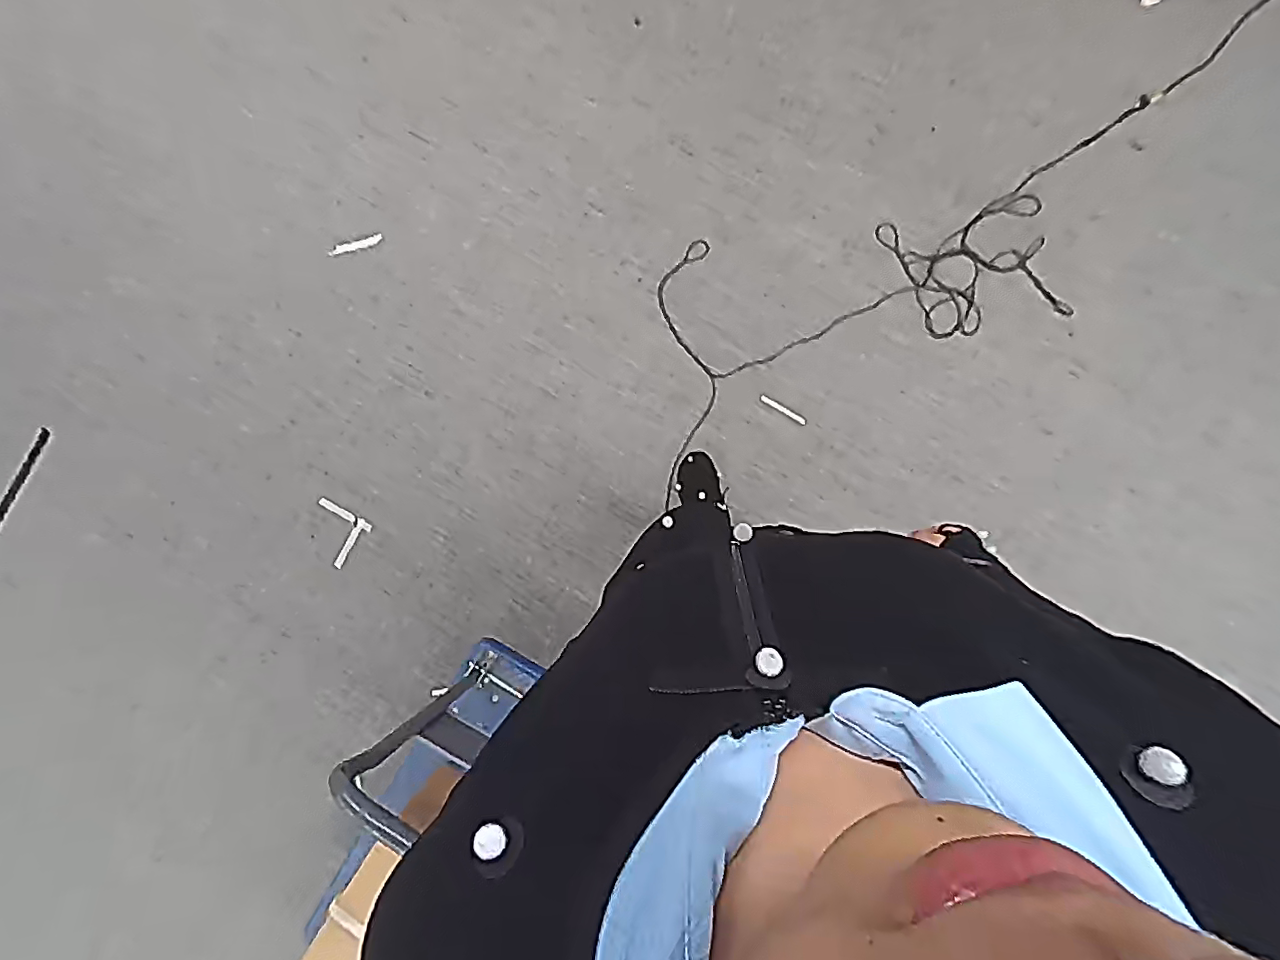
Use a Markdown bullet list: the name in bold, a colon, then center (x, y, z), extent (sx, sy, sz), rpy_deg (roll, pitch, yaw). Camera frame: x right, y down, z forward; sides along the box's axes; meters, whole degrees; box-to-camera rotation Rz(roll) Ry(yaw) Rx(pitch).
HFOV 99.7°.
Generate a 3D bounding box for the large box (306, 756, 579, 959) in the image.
- **large box**: center (-0.398, 0.903, 1.184), extent (0.408, 0.320, 0.320), rpy_deg (32, 90, 3)
